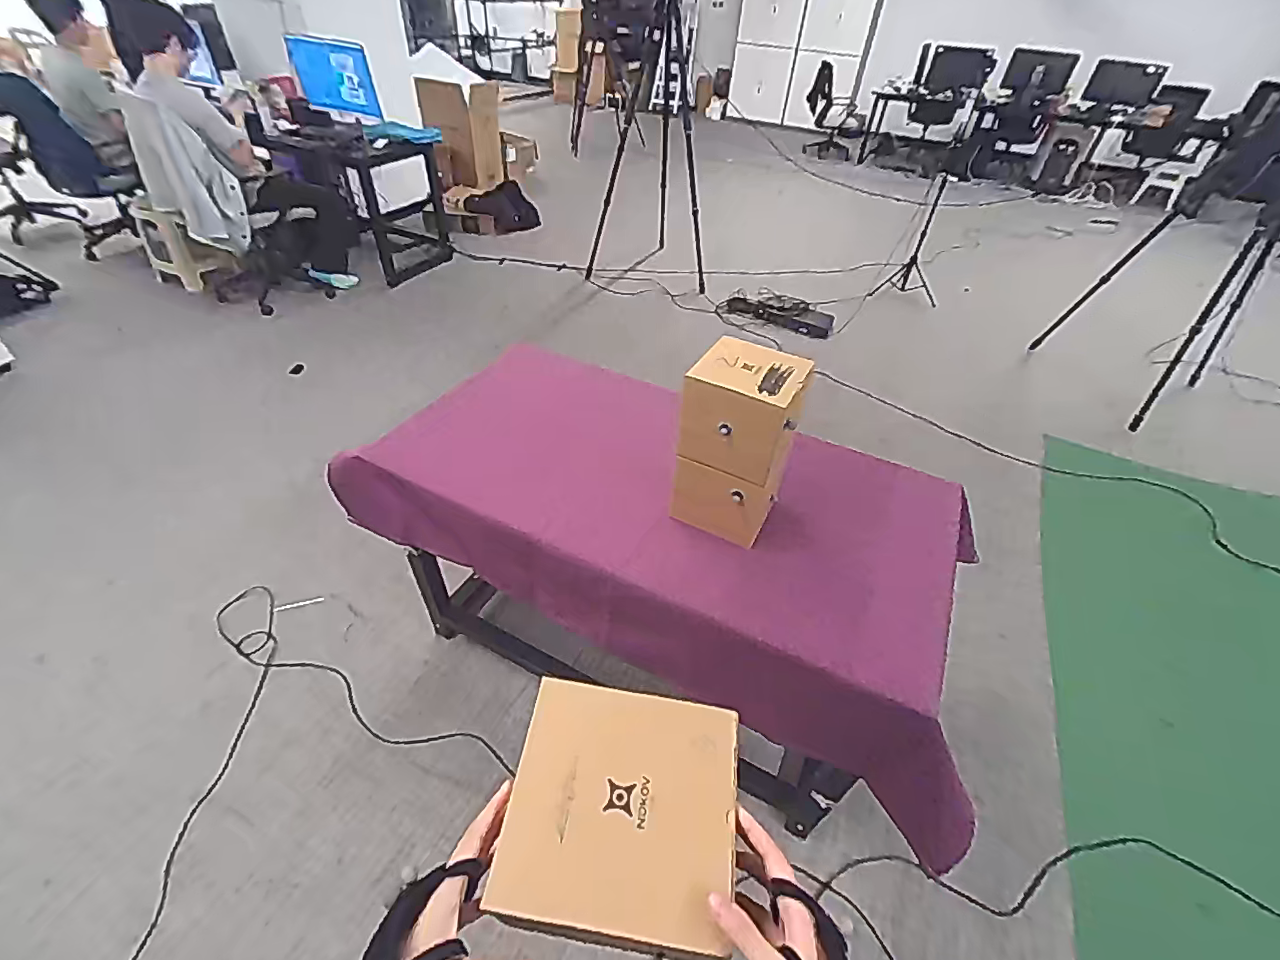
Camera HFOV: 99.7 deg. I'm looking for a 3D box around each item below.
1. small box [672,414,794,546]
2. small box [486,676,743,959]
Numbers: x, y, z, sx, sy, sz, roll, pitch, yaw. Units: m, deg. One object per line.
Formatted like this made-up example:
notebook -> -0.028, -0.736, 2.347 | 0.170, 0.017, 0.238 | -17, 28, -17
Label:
small box -> 0.178, 0.004, 1.064 | 0.179, 0.176, 0.168 | 22, 45, 19
small box -> -0.015, 0.301, 0.480 | 0.179, 0.176, 0.168 | 9, 47, 3
